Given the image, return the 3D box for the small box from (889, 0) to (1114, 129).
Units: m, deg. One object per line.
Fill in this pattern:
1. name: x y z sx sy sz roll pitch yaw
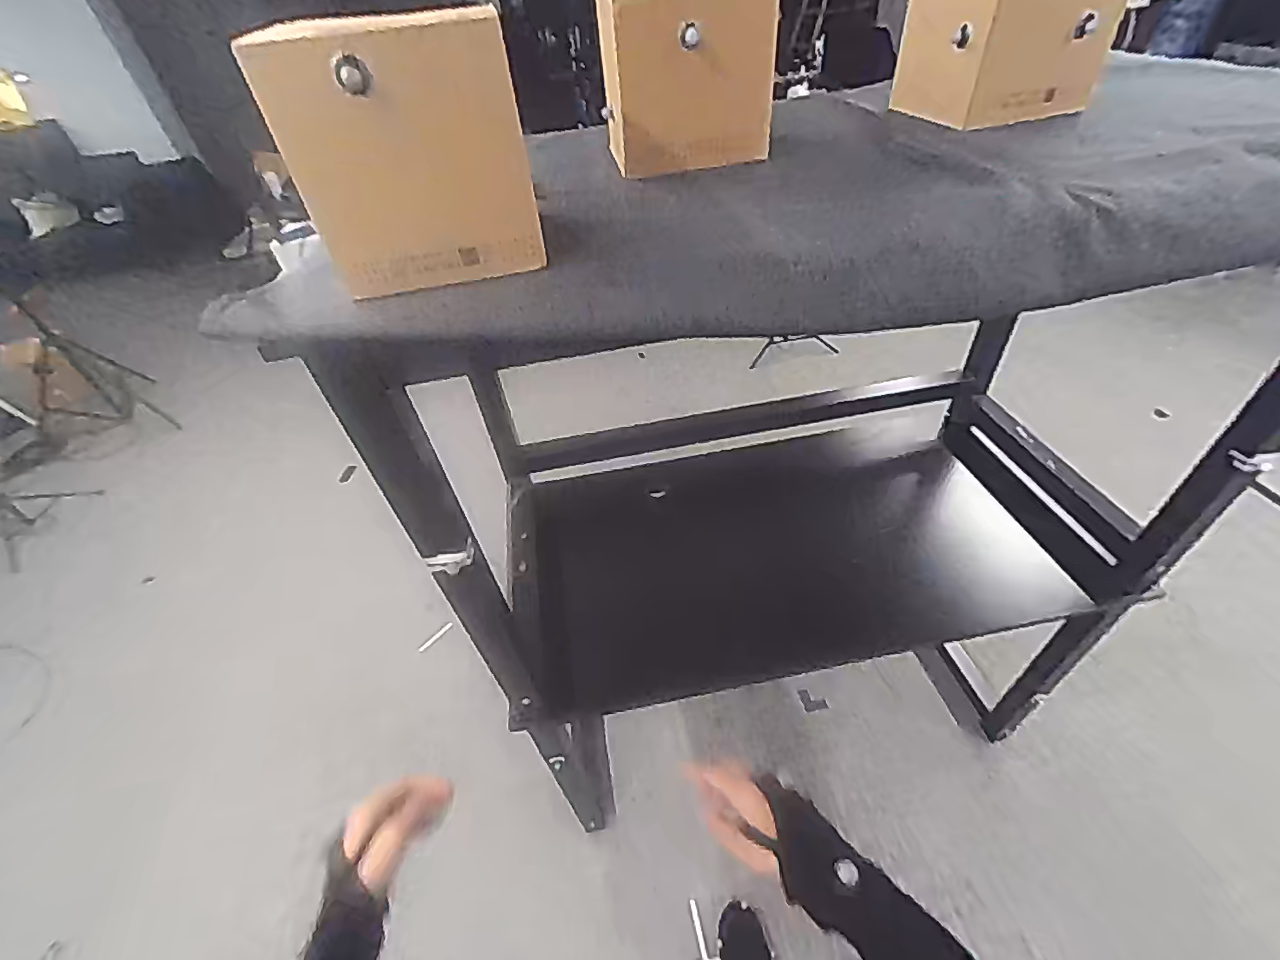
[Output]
1. small box: 0.442 -0.552 0.670 0.168 0.176 0.179 -11 44 -5

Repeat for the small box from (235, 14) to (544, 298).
1. small box: -0.183 -0.273 0.456 0.168 0.176 0.179 -12 43 -6

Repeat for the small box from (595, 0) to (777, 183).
1. small box: 0.048 -0.477 0.646 0.179 0.176 0.168 -10 44 -3
